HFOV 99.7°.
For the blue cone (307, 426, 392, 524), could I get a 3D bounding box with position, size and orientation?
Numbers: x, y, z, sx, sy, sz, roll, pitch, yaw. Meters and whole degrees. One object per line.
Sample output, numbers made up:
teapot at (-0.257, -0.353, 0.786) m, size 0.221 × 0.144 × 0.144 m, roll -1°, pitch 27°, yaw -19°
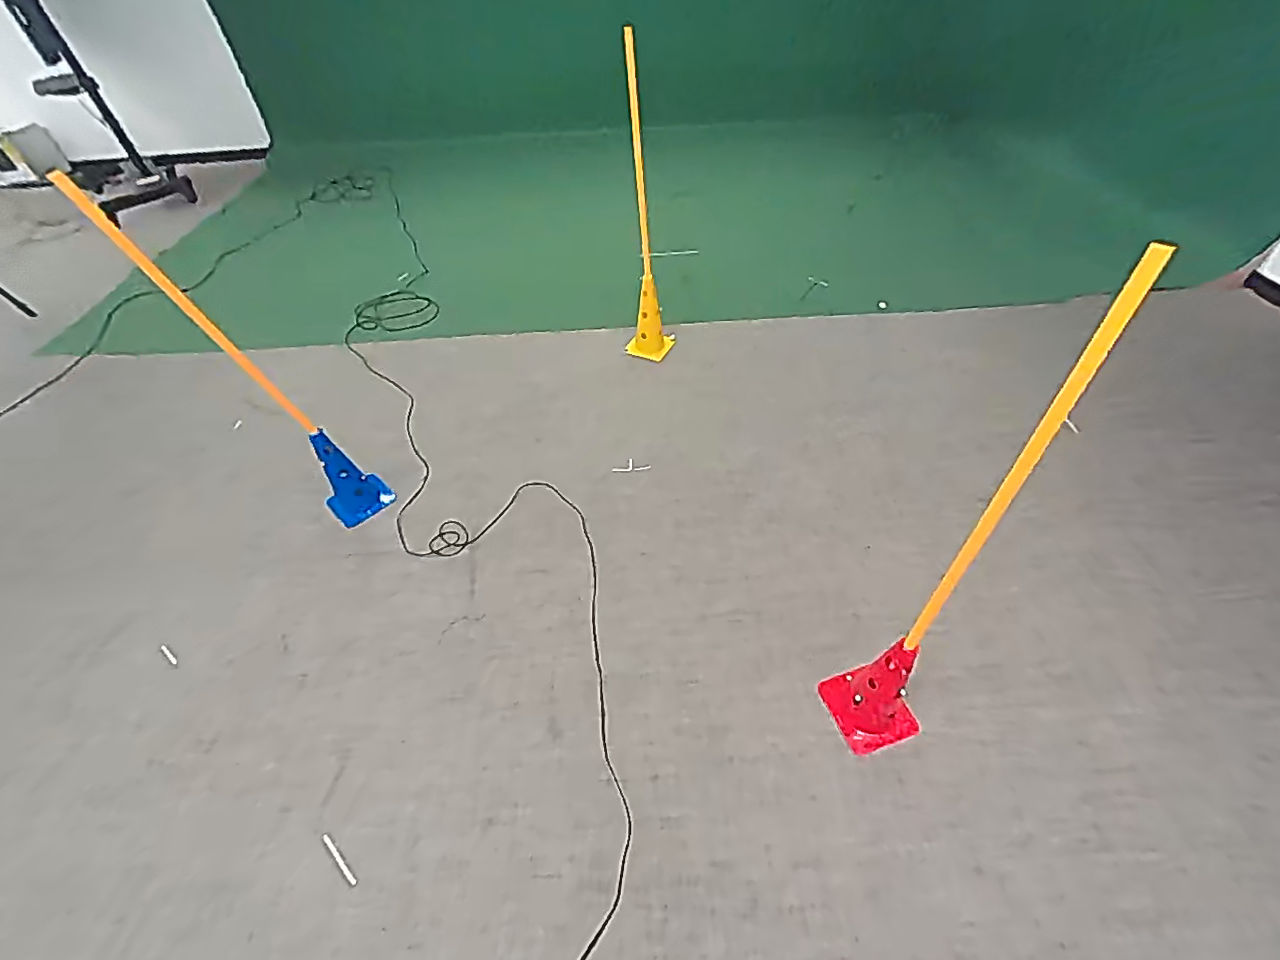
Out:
blue cone at (-1.044, -0.037, 1.881) m, size 0.192 × 0.380 × 0.193 m, roll 34°, pitch 59°, yaw 28°
